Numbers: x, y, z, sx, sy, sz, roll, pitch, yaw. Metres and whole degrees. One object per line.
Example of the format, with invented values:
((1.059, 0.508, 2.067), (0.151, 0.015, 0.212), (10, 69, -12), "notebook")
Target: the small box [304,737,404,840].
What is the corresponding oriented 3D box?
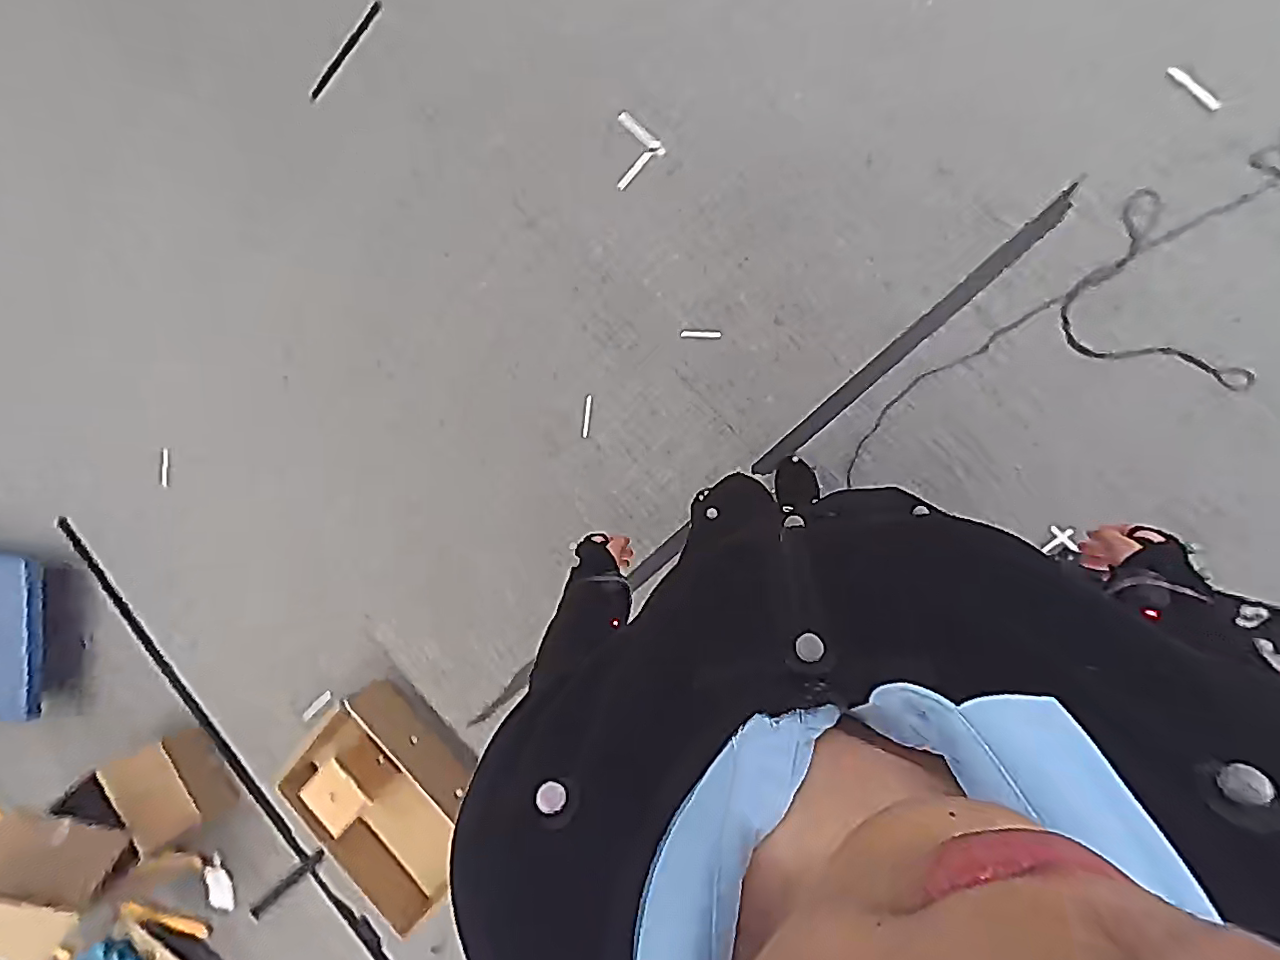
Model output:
((-0.860, 0.928, 1.640), (0.168, 0.176, 0.179), (43, 100, 8), "small box")
